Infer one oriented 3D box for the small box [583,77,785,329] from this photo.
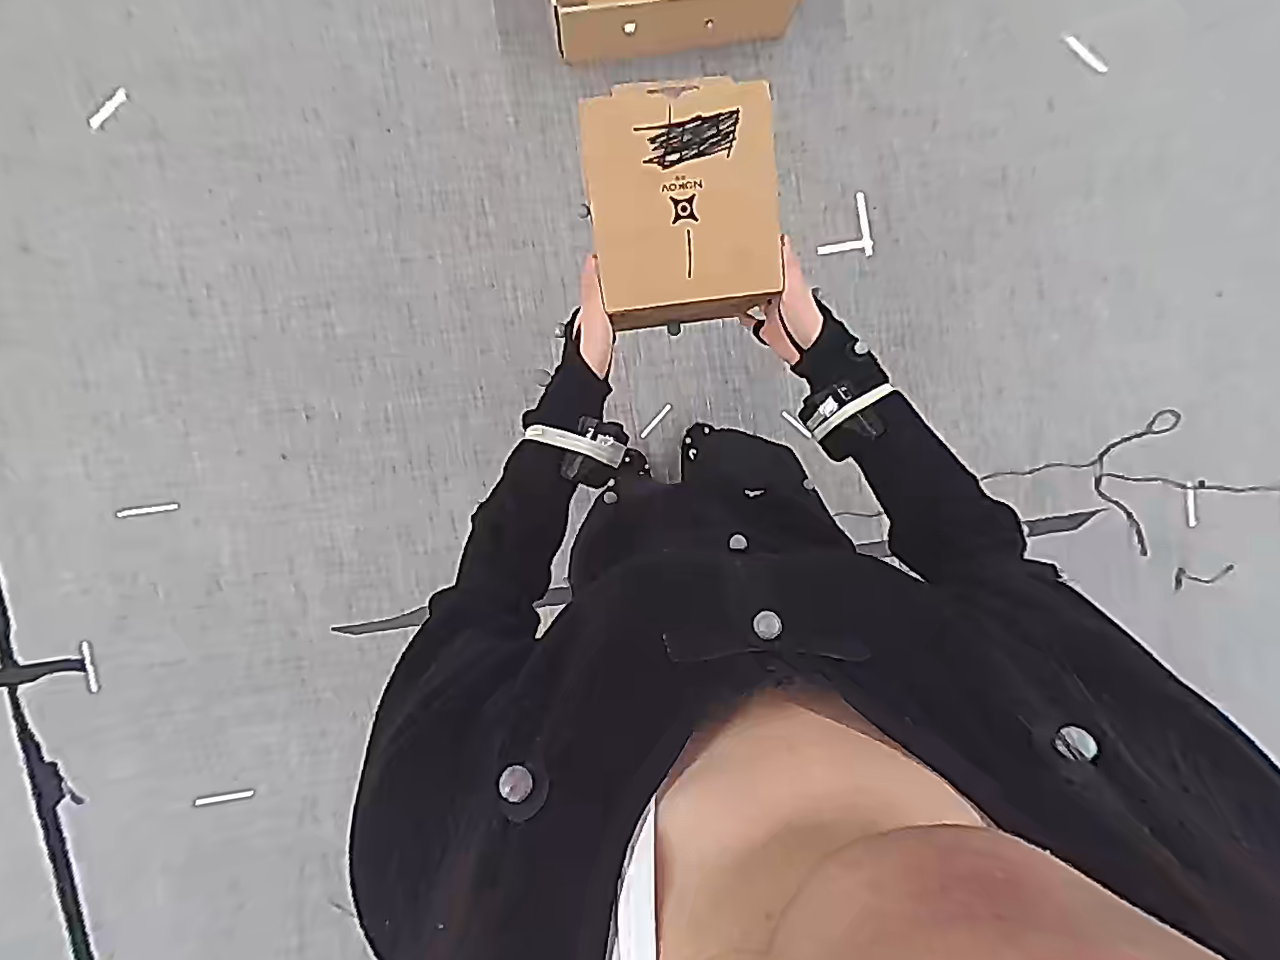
[{"bbox_3d":[0.035,-0.259,0.546,0.168,0.176,0.179,-8,100,-2],"label":"small box"}]
